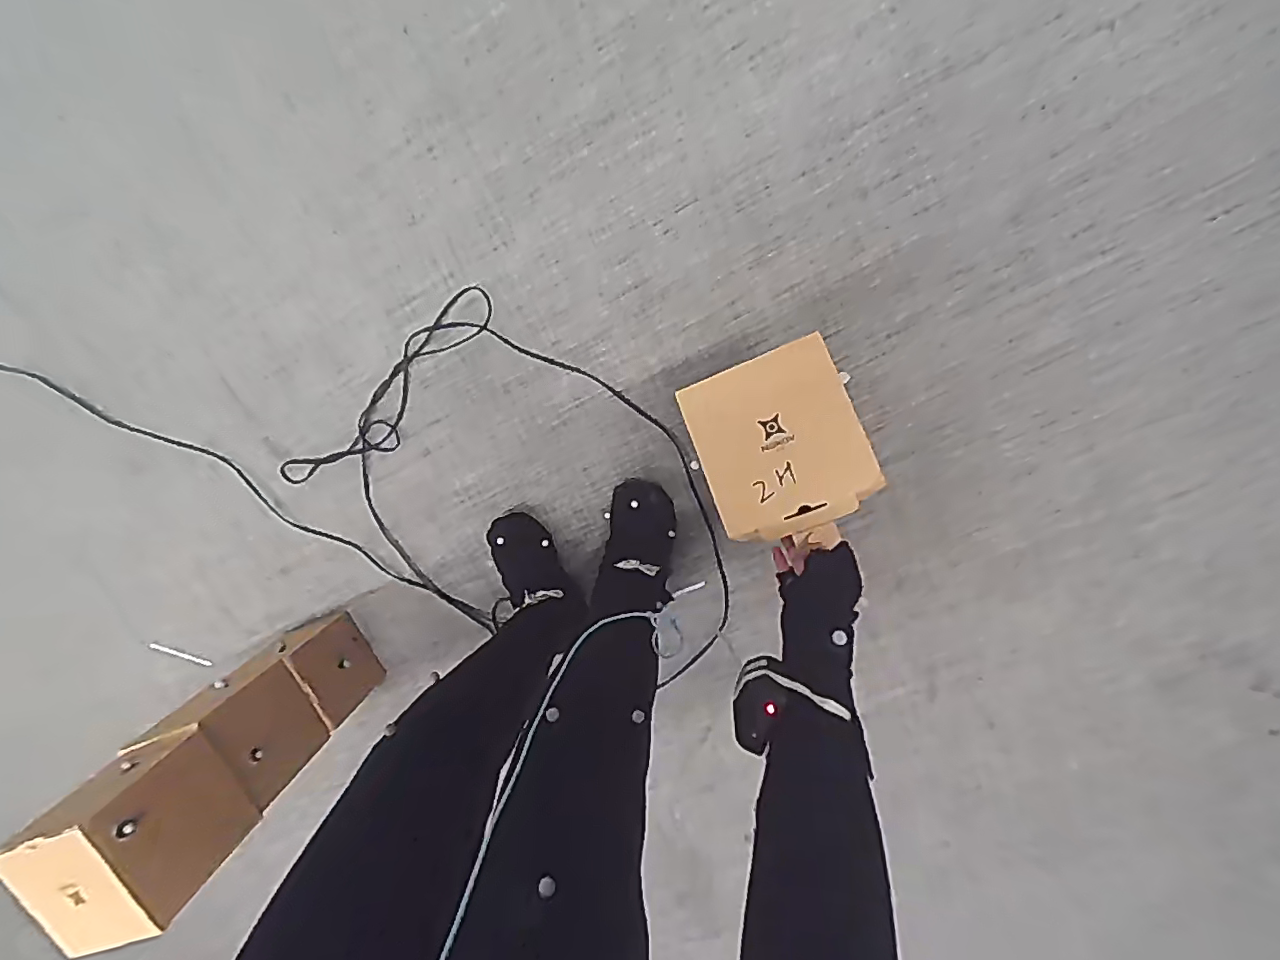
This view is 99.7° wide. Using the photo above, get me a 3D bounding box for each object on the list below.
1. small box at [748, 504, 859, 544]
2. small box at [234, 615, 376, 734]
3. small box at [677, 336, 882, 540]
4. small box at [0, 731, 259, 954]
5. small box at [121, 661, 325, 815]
[{"bbox_3d":[0.219,-0.028,0.845,0.168,0.176,0.179,-18,103,10],"label":"small box"},{"bbox_3d":[-0.651,0.390,1.054,0.179,0.176,0.168,-22,102,11],"label":"small box"},{"bbox_3d":[0.158,-0.035,0.638,0.168,0.176,0.179,-22,79,12],"label":"small box"},{"bbox_3d":[-0.684,0.488,0.743,0.168,0.176,0.179,-22,102,11],"label":"small box"},{"bbox_3d":[-0.673,0.436,0.897,0.168,0.176,0.179,-21,102,11],"label":"small box"}]
